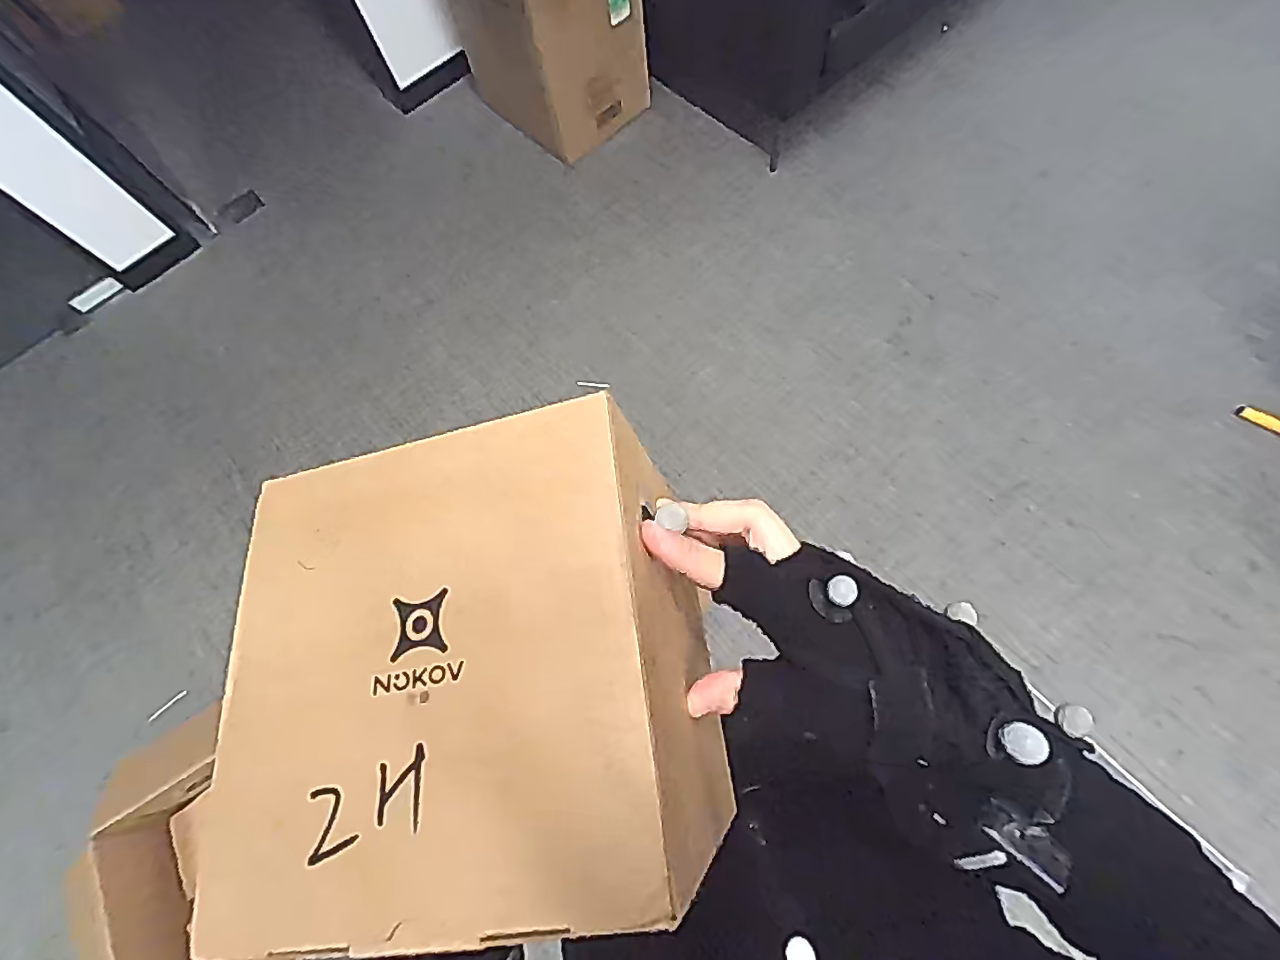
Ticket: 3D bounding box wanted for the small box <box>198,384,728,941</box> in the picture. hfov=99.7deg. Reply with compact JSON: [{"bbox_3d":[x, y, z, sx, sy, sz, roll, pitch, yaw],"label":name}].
[{"bbox_3d":[-0.058,0.084,0.269,0.168,0.176,0.179,-13,67,10],"label":"small box"}]
